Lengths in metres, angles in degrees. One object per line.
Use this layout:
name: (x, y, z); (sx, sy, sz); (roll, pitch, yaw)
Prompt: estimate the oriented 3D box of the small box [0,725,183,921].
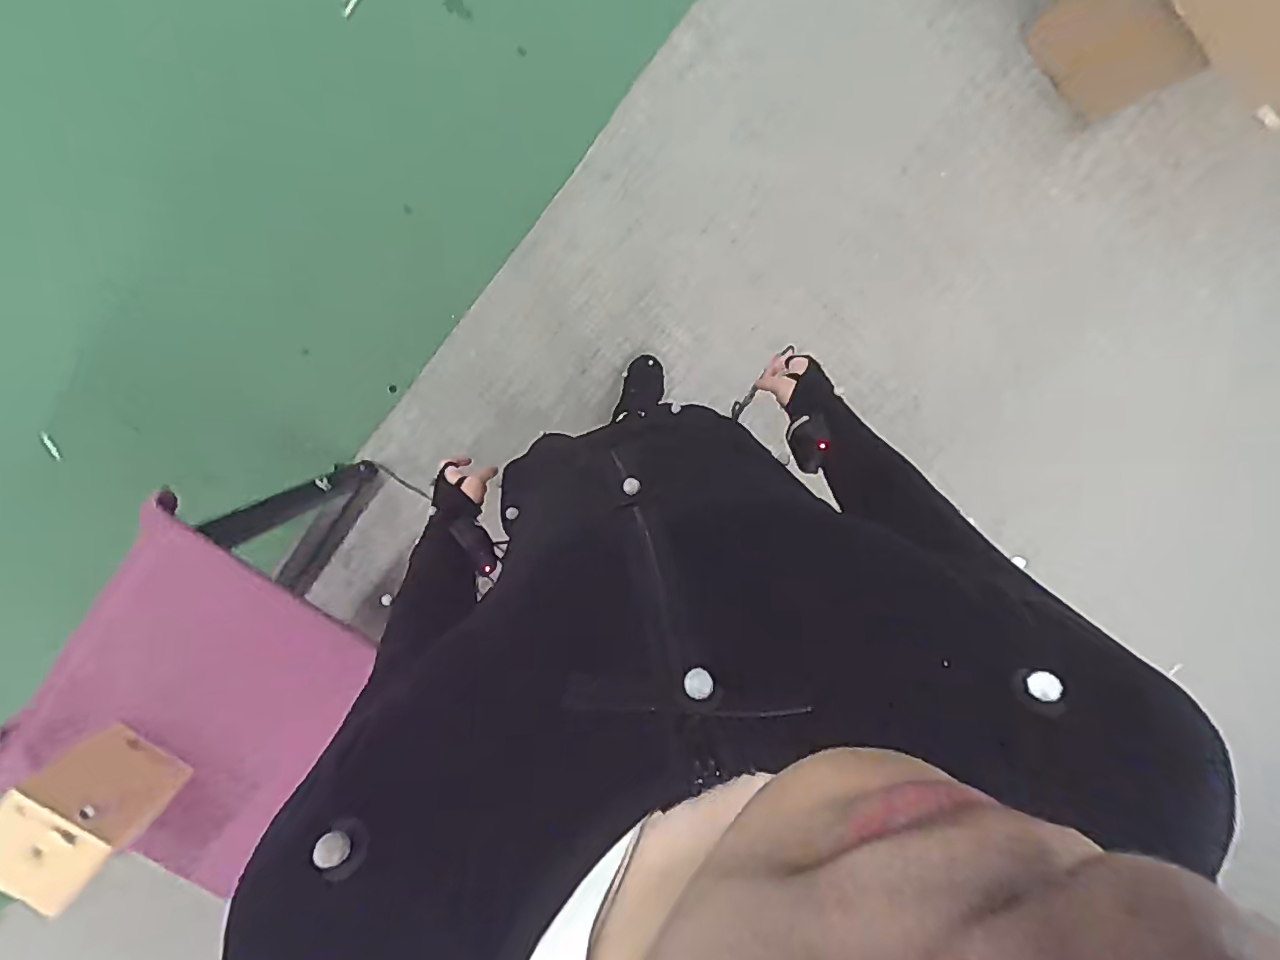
small box: (-0.919, 0.551, 0.887); (0.168, 0.176, 0.179); (40, 98, -11)
